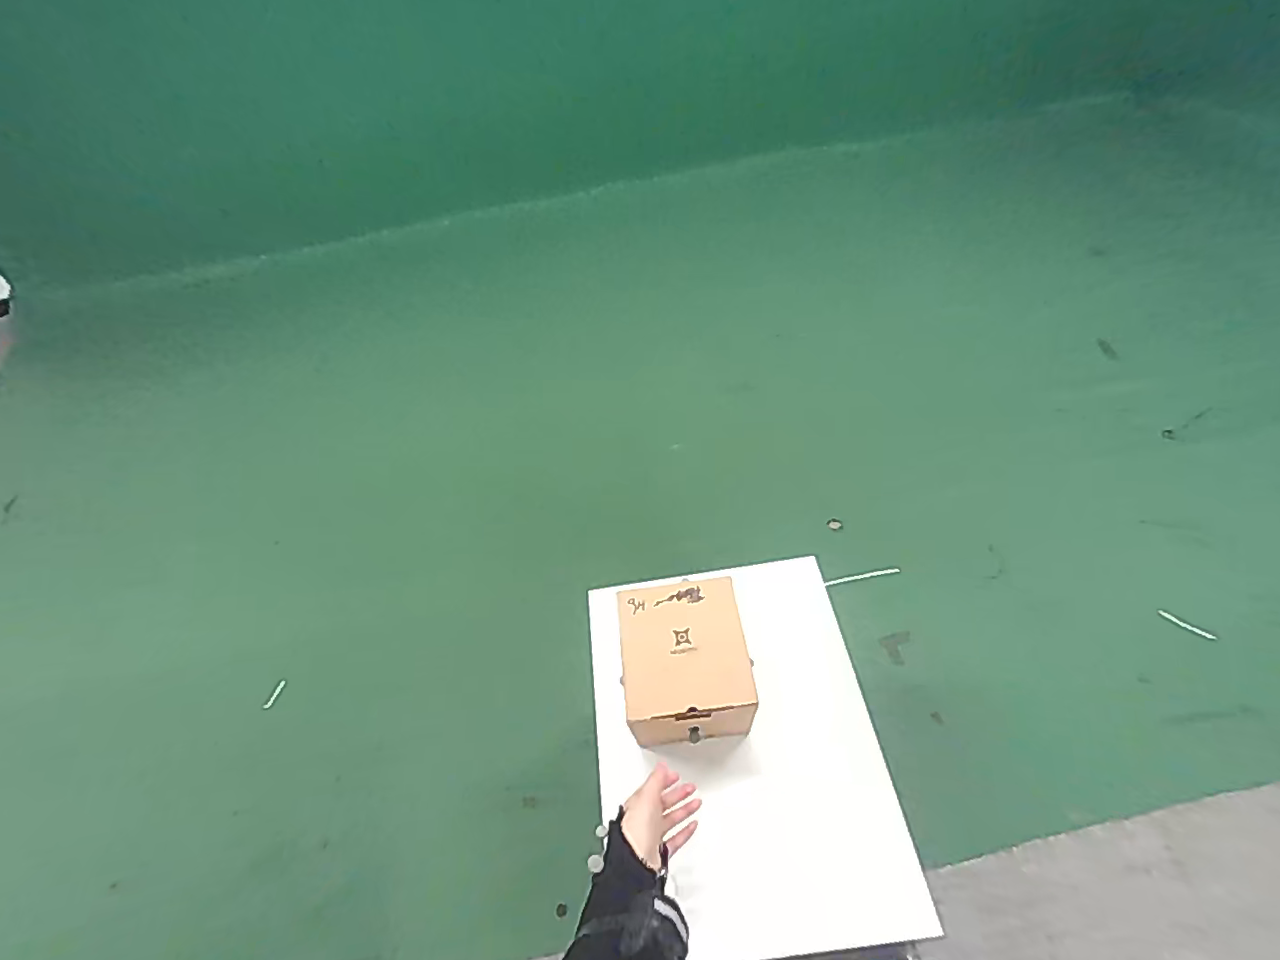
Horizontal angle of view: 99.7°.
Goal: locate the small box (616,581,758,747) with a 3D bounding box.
[{"bbox_3d":[0.063,0.264,0.754,0.168,0.176,0.179,-8,54,1],"label":"small box"}]
